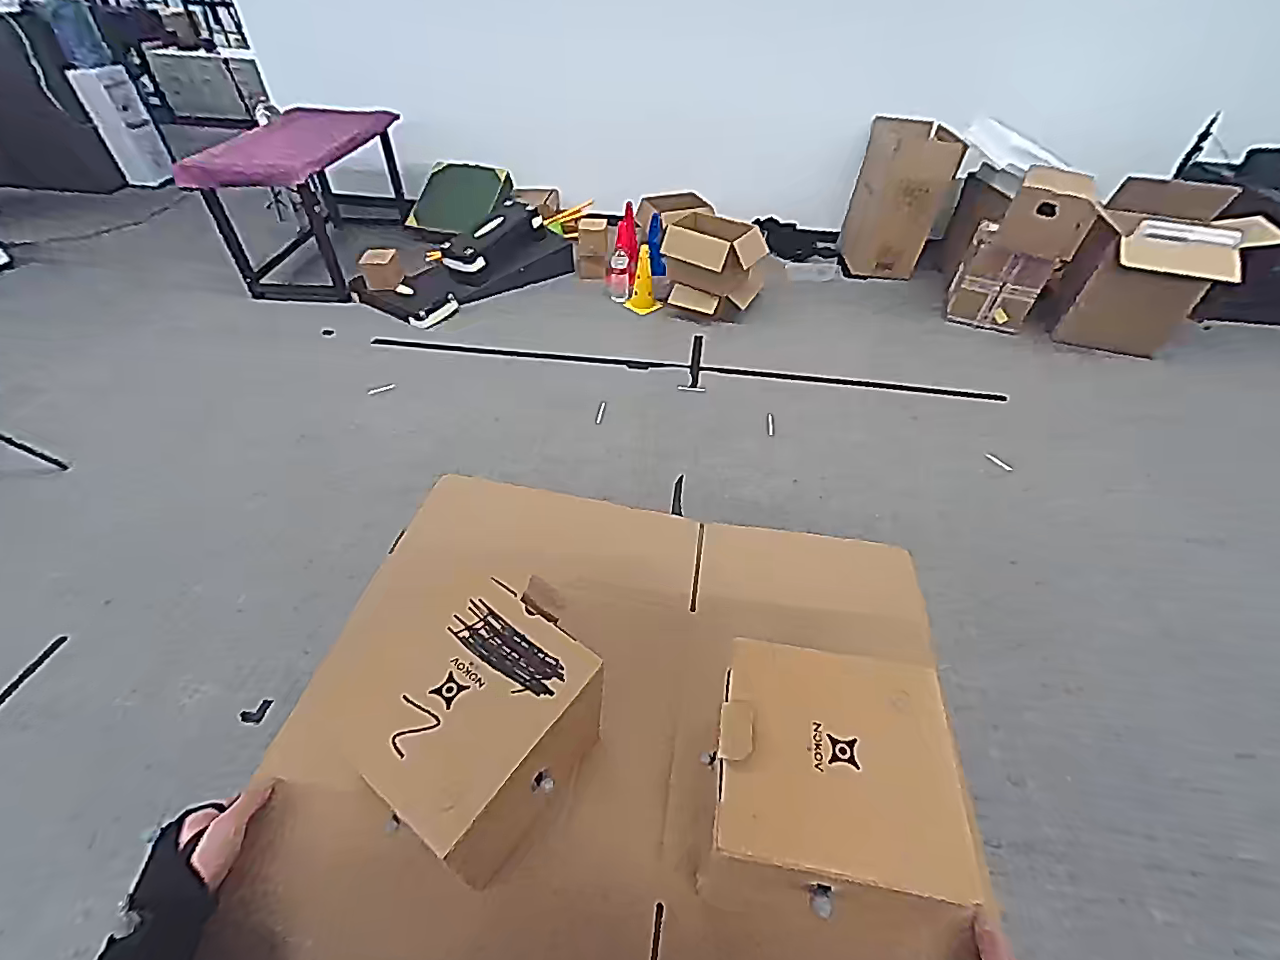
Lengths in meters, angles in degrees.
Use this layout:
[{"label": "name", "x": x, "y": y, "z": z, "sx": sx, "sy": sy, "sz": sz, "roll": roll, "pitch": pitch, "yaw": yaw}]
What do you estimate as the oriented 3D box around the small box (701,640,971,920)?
[{"label": "small box", "x": 0.154, "y": 0.270, "z": 0.486, "sx": 0.179, "sy": 0.176, "sz": 0.168, "roll": 6, "pitch": 45, "yaw": 8}]
